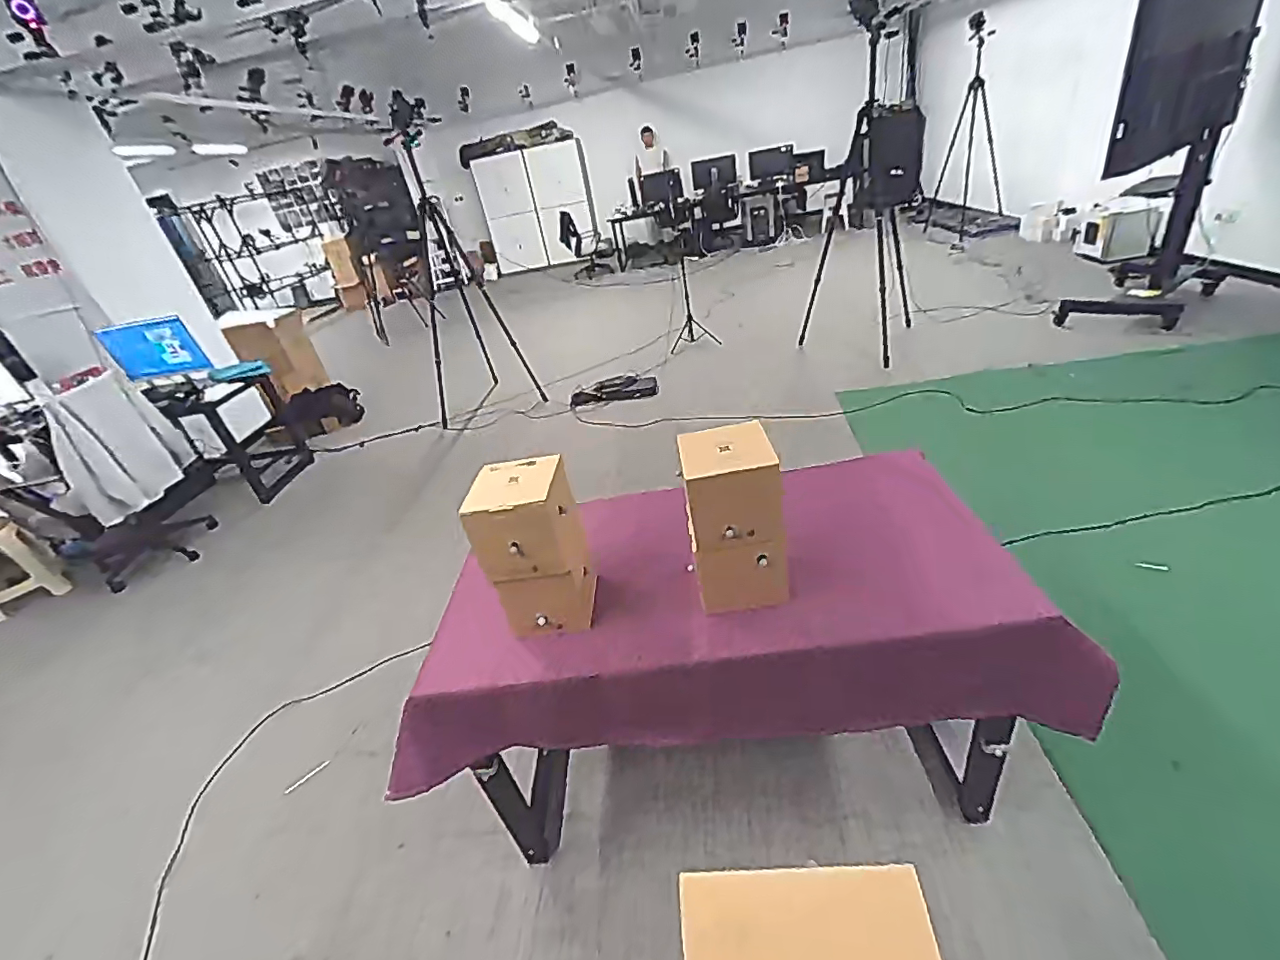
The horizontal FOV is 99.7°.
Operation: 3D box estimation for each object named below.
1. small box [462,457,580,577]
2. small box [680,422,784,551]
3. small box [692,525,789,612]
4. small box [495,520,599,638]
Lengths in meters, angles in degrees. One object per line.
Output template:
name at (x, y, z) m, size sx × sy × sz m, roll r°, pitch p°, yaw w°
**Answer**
small box at (-0.222, 0.078, 1.068) m, size 0.168 × 0.176 × 0.179 m, roll -8°, pitch 32°, yaw 7°
small box at (0.172, 0.011, 1.033) m, size 0.168 × 0.176 × 0.179 m, roll -10°, pitch 32°, yaw 5°
small box at (0.205, 0.149, 1.114) m, size 0.179 × 0.176 × 0.168 m, roll -9°, pitch 30°, yaw 6°
small box at (-0.187, 0.211, 1.159) m, size 0.168 × 0.176 × 0.179 m, roll -9°, pitch 32°, yaw 7°
